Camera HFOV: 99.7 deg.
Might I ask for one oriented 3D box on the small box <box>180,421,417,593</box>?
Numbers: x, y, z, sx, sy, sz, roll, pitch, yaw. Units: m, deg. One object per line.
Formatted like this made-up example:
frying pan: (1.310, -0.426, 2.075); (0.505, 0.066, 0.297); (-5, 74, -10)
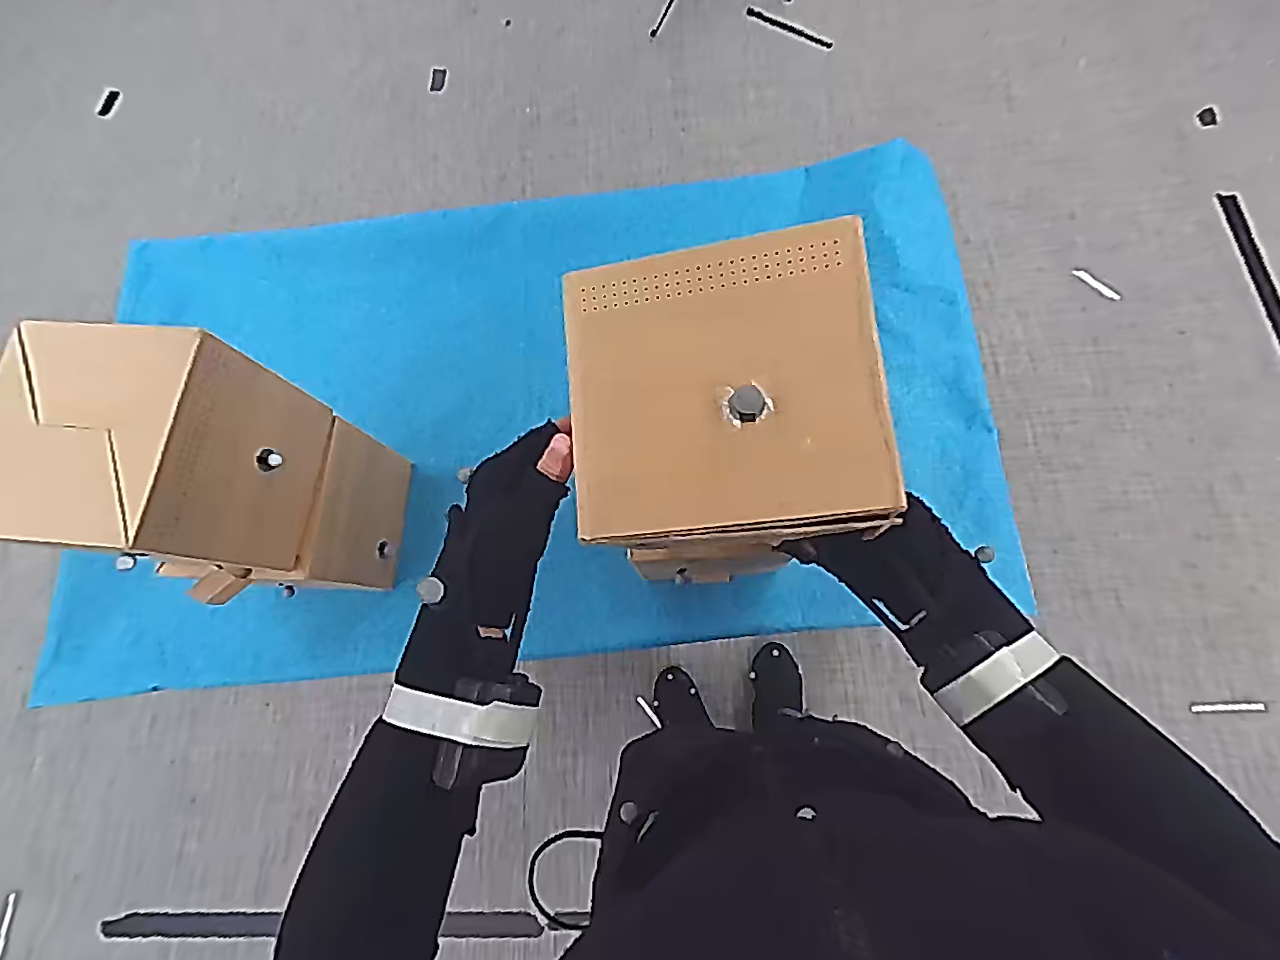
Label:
small box: (-0.393, 0.039, 0.645); (0.168, 0.176, 0.179); (0, 75, 5)

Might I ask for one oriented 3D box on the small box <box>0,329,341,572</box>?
small box: (-0.415, -0.017, 0.491); (0.168, 0.176, 0.179); (4, 76, 6)

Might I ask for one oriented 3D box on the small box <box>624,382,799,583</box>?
small box: (0.075, 0.013, 0.610); (0.168, 0.176, 0.179); (-5, 72, 4)
